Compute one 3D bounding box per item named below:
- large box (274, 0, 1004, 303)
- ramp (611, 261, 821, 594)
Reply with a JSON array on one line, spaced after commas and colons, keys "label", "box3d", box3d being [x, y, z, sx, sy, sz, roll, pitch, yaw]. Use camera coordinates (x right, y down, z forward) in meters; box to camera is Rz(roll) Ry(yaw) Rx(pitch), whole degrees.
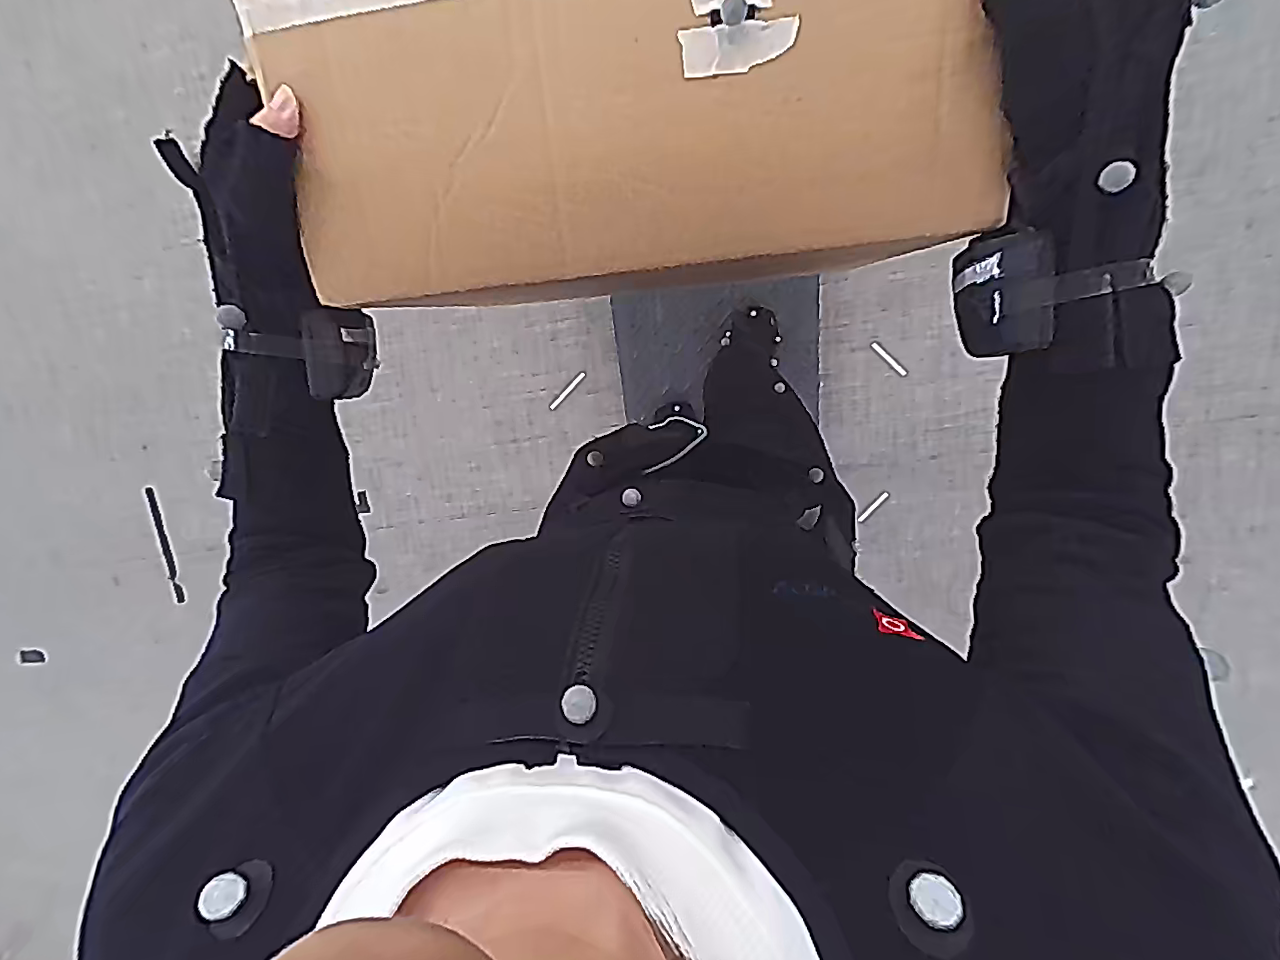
[{"label": "large box", "box3d": [0.000, -0.326, 0.428, 0.408, 0.320, 0.320, -4, 108, 8]}, {"label": "ramp", "box3d": [0.220, -0.134, 1.406, 0.509, 0.206, 0.991, -6, 102, 8]}]
